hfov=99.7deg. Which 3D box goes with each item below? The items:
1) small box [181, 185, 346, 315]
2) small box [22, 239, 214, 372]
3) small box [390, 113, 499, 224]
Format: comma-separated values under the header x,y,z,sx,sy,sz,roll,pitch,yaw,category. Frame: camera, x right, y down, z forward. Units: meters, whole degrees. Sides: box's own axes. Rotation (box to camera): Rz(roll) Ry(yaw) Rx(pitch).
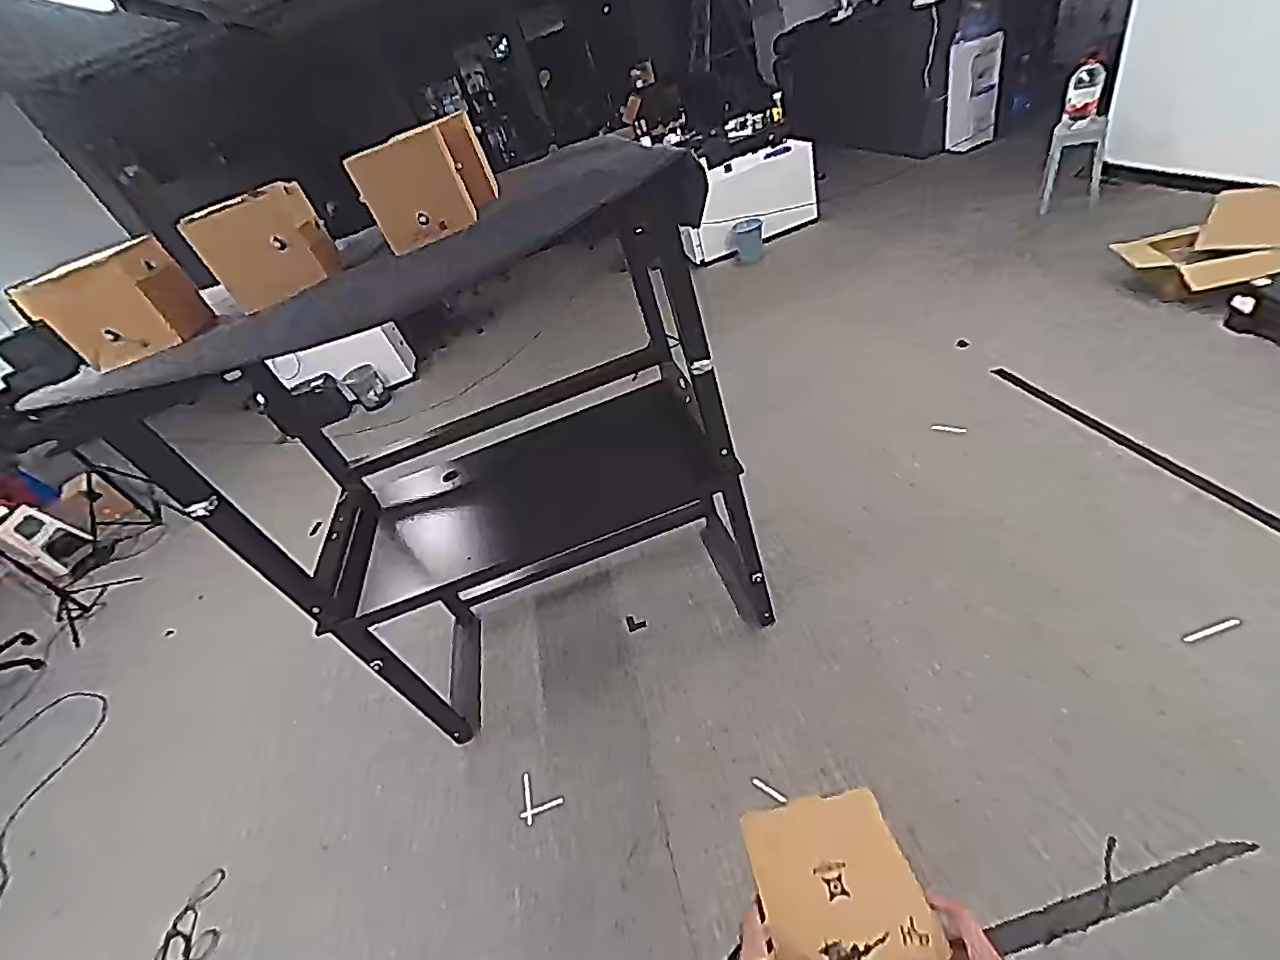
x,y,z,sx,sy,sz,roll,pitch,yaw,category
-0.701,-0.440,1.035,0.179,0.176,0.168,-22,36,-3,small box
-0.961,-0.329,1.021,0.168,0.176,0.179,-23,38,-3,small box
-0.428,-0.698,1.214,0.168,0.176,0.179,-22,38,1,small box
